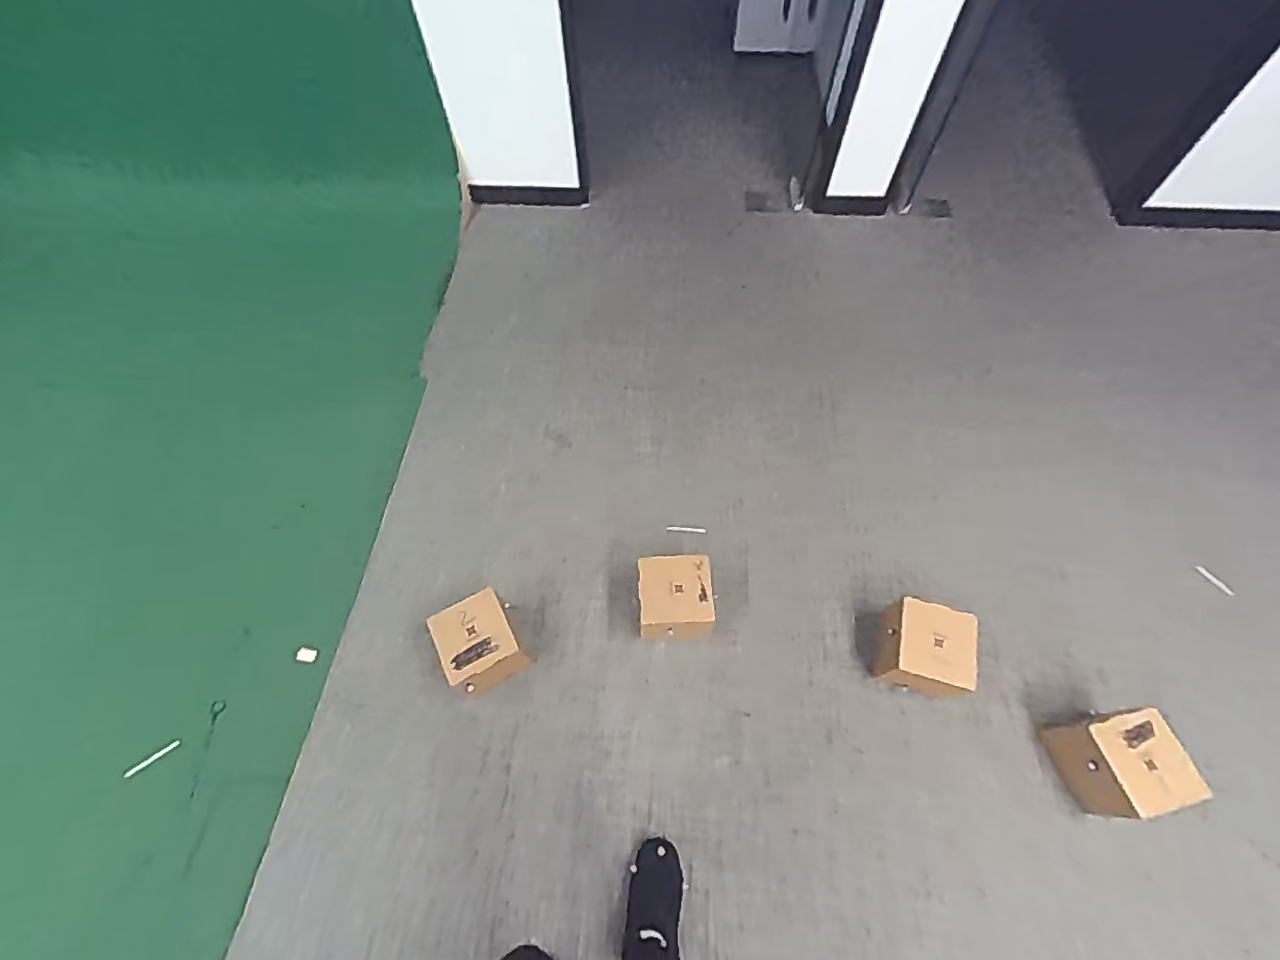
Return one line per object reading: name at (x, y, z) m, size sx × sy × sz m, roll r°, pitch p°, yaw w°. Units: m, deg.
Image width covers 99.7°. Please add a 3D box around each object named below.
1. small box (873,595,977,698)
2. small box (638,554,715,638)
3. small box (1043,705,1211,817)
small box at (0.675, 0.401, 1.292) m, size 0.168 × 0.176 × 0.179 m, roll 15°, pitch 62°, yaw 10°
small box at (0.089, 0.295, 1.358) m, size 0.179 × 0.176 × 0.168 m, roll -3°, pitch 61°, yaw 0°
small box at (1.036, 0.608, 1.172) m, size 0.168 × 0.176 × 0.179 m, roll -13°, pitch 62°, yaw -6°
